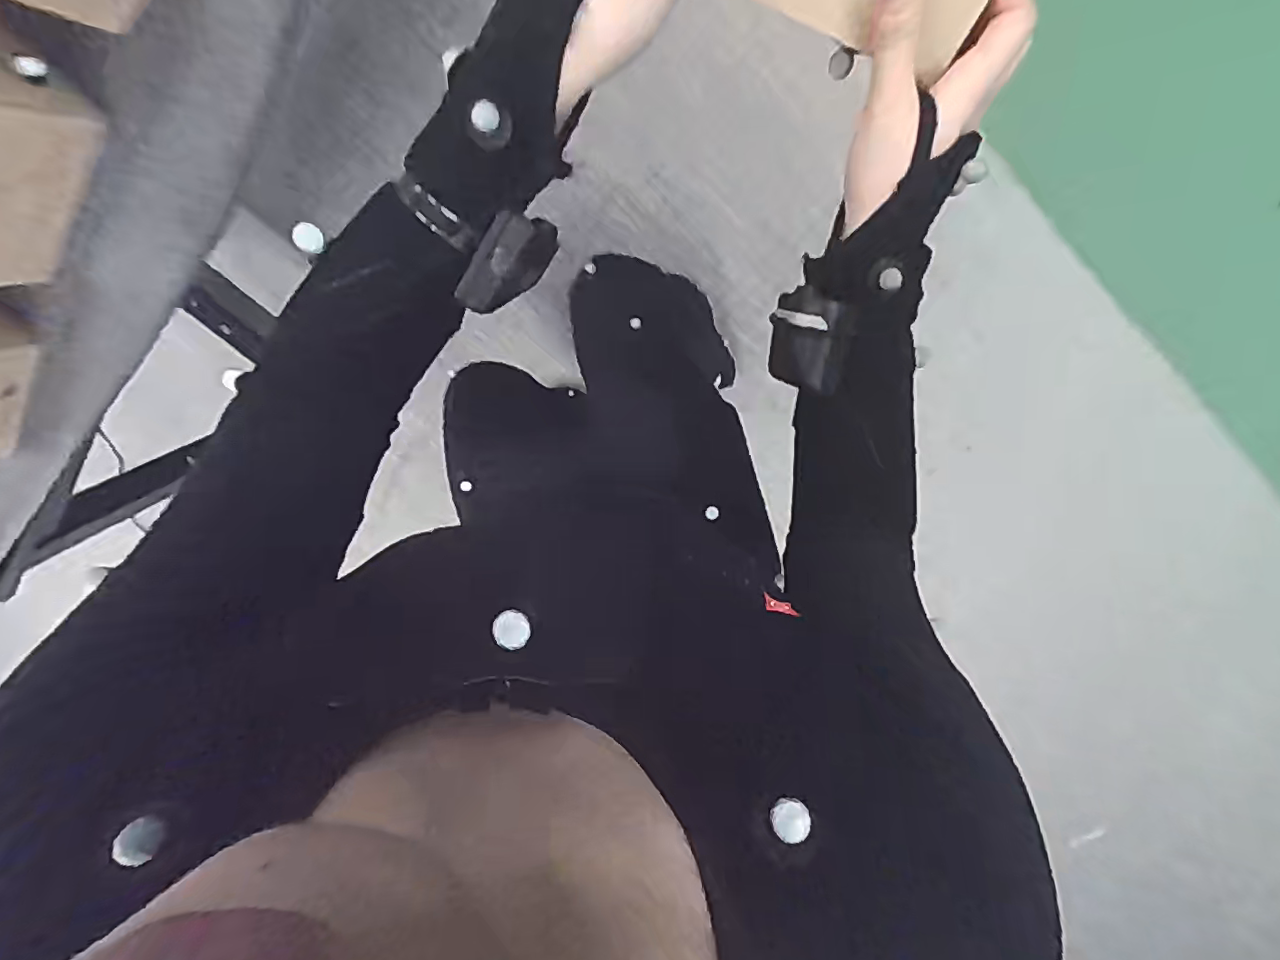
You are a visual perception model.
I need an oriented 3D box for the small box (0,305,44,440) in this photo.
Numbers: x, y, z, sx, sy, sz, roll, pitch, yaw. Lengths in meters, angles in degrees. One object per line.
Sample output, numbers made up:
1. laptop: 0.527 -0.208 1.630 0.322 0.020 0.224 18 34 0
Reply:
1. small box: -0.704 -0.110 0.467 0.179 0.176 0.168 40 114 -12
